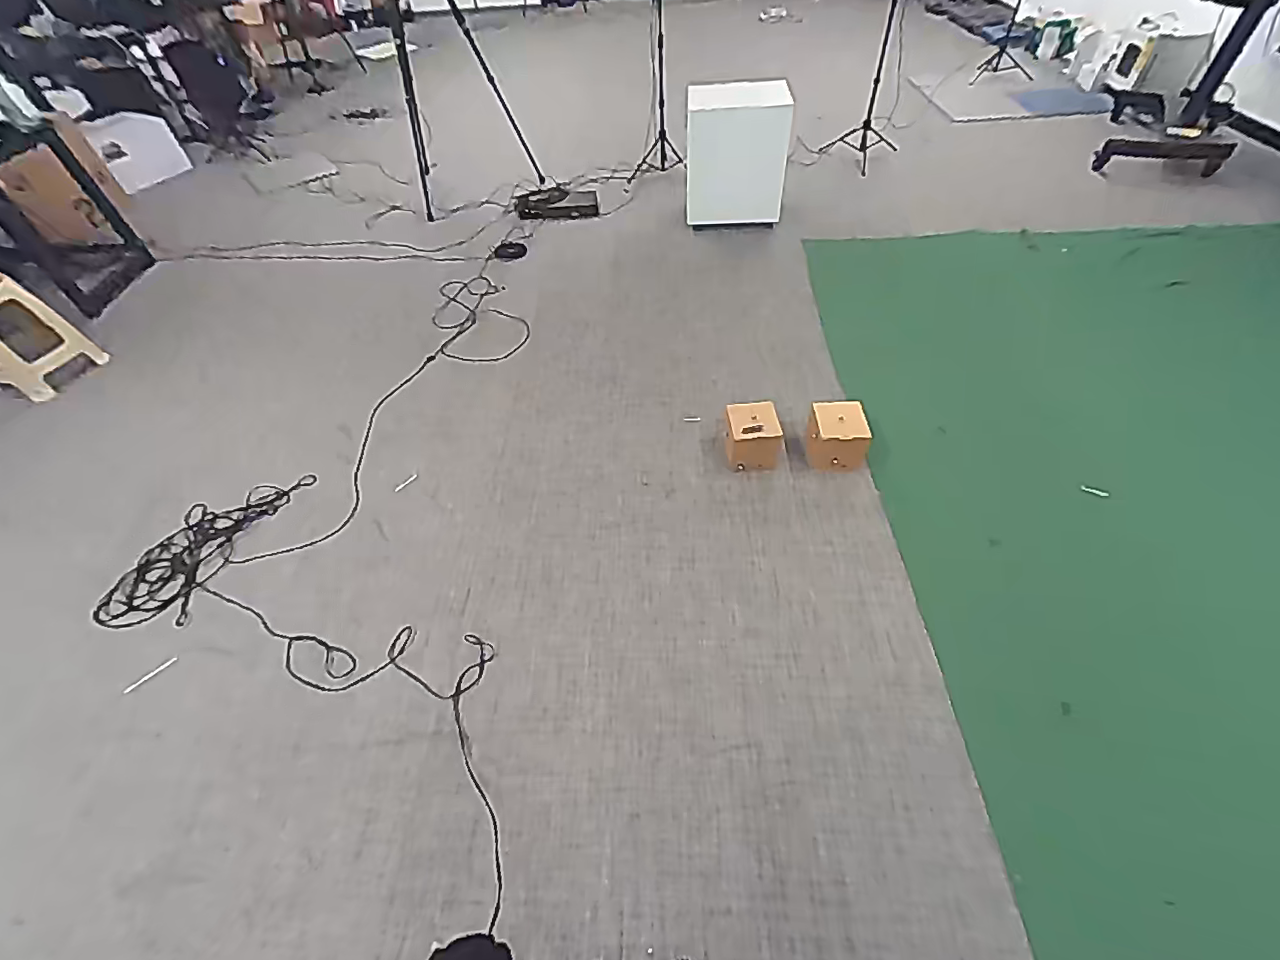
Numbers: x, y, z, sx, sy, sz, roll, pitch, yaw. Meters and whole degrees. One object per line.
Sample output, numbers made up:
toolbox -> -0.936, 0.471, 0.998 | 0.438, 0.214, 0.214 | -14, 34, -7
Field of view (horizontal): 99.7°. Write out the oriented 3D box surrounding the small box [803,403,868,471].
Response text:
small box -> 0.681, -0.152, 1.905 | 0.168, 0.176, 0.179 | -2, 50, 3

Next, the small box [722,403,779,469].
small box -> 0.388, -0.151, 1.922 | 0.168, 0.176, 0.179 | -4, 49, 0
